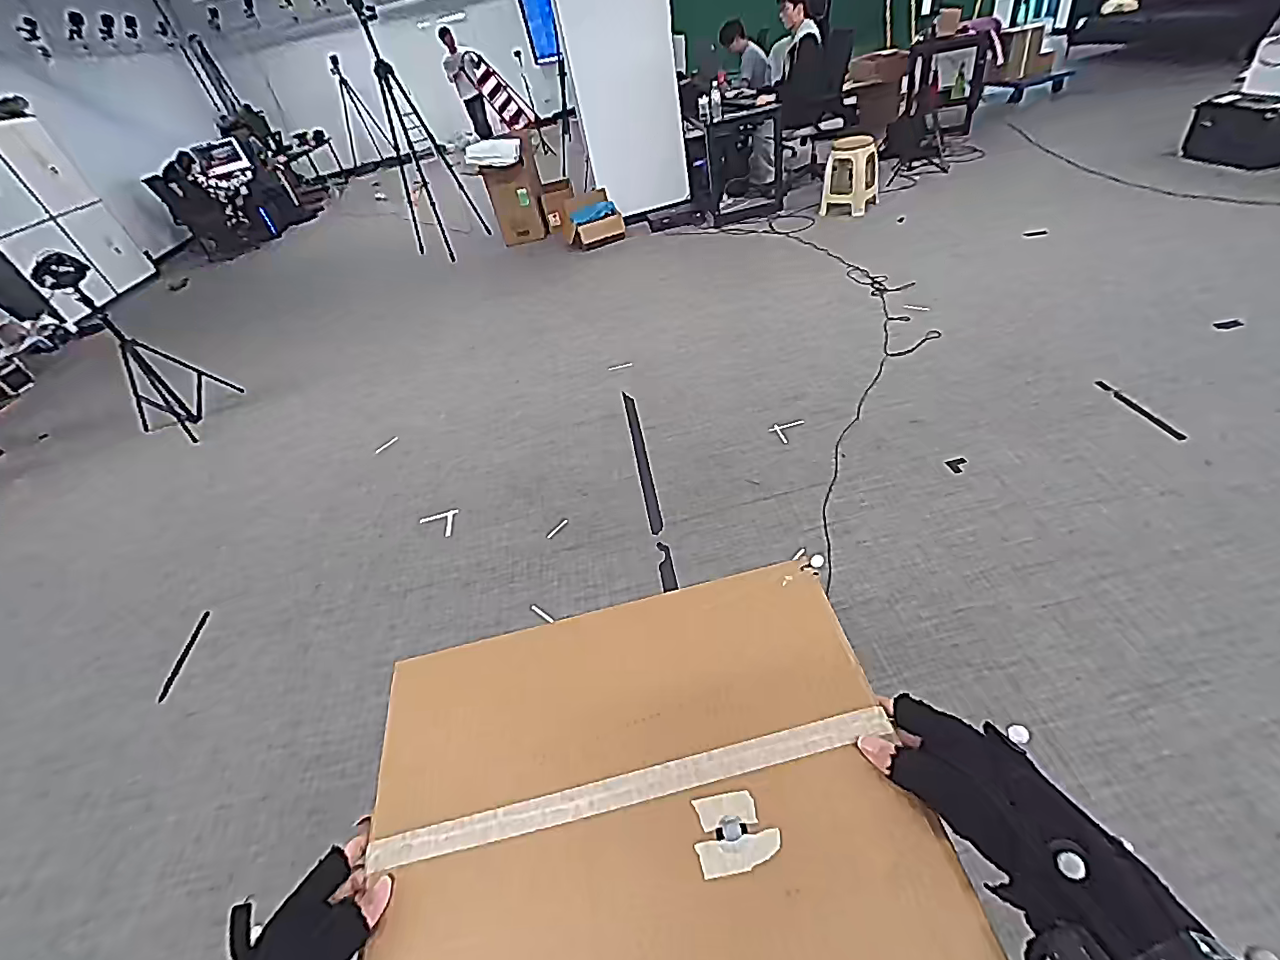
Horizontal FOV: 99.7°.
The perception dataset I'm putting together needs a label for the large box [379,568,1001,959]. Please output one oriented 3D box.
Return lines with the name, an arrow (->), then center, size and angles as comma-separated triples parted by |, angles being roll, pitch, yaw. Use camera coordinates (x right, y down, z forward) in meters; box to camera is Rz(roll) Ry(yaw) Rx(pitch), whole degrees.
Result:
large box -> 0.021, 0.342, 0.528 | 0.408, 0.320, 0.320 | -14, 47, -2
